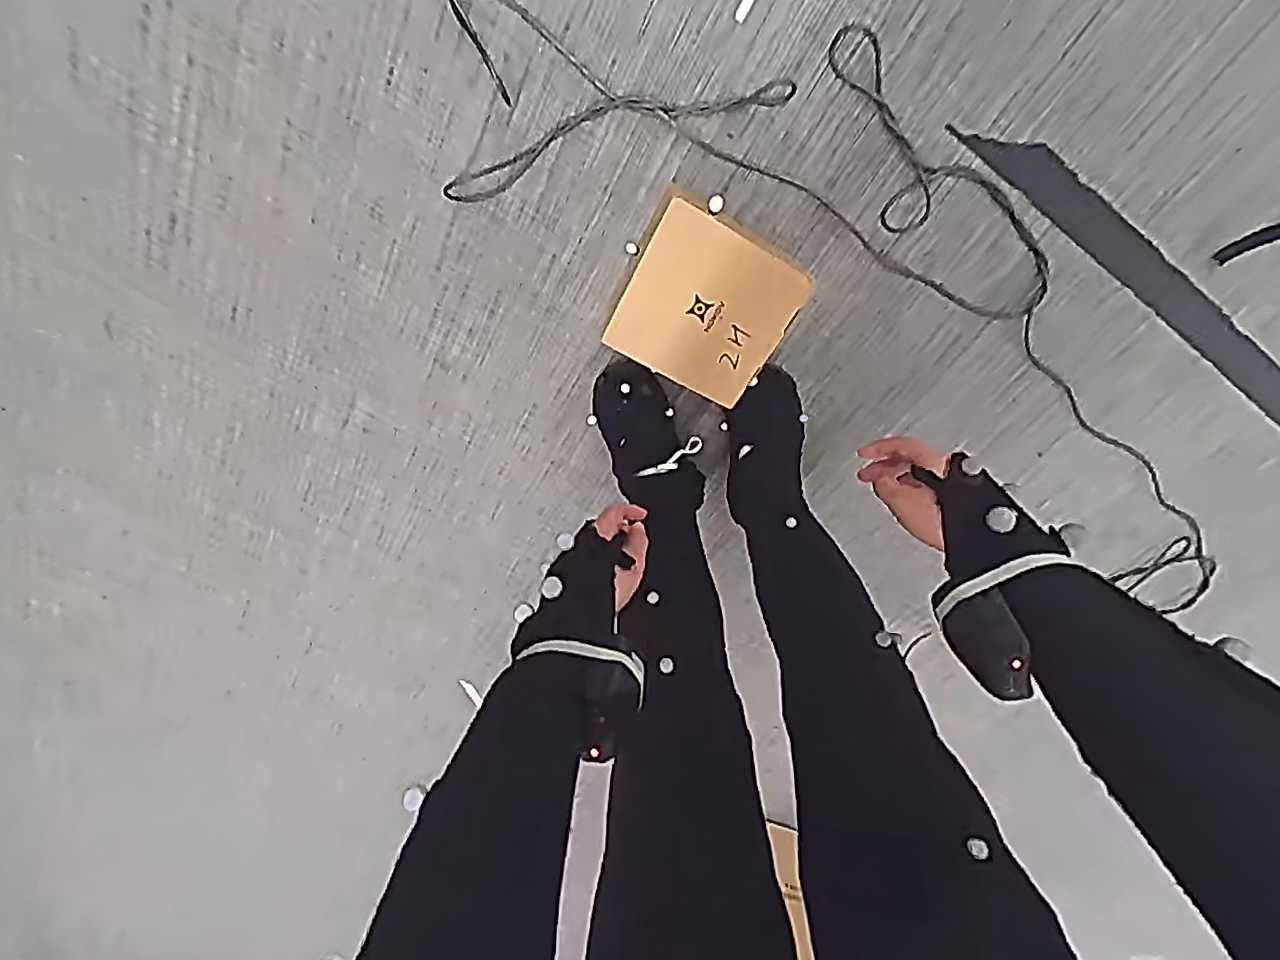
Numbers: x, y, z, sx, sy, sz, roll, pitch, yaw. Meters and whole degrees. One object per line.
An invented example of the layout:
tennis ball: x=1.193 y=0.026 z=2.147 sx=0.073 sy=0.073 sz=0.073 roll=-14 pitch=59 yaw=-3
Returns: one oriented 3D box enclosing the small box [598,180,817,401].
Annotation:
small box: x=0.068 y=-0.227 z=0.633 sx=0.179 sy=0.176 sz=0.168 roll=25 pitch=120 yaw=-15
